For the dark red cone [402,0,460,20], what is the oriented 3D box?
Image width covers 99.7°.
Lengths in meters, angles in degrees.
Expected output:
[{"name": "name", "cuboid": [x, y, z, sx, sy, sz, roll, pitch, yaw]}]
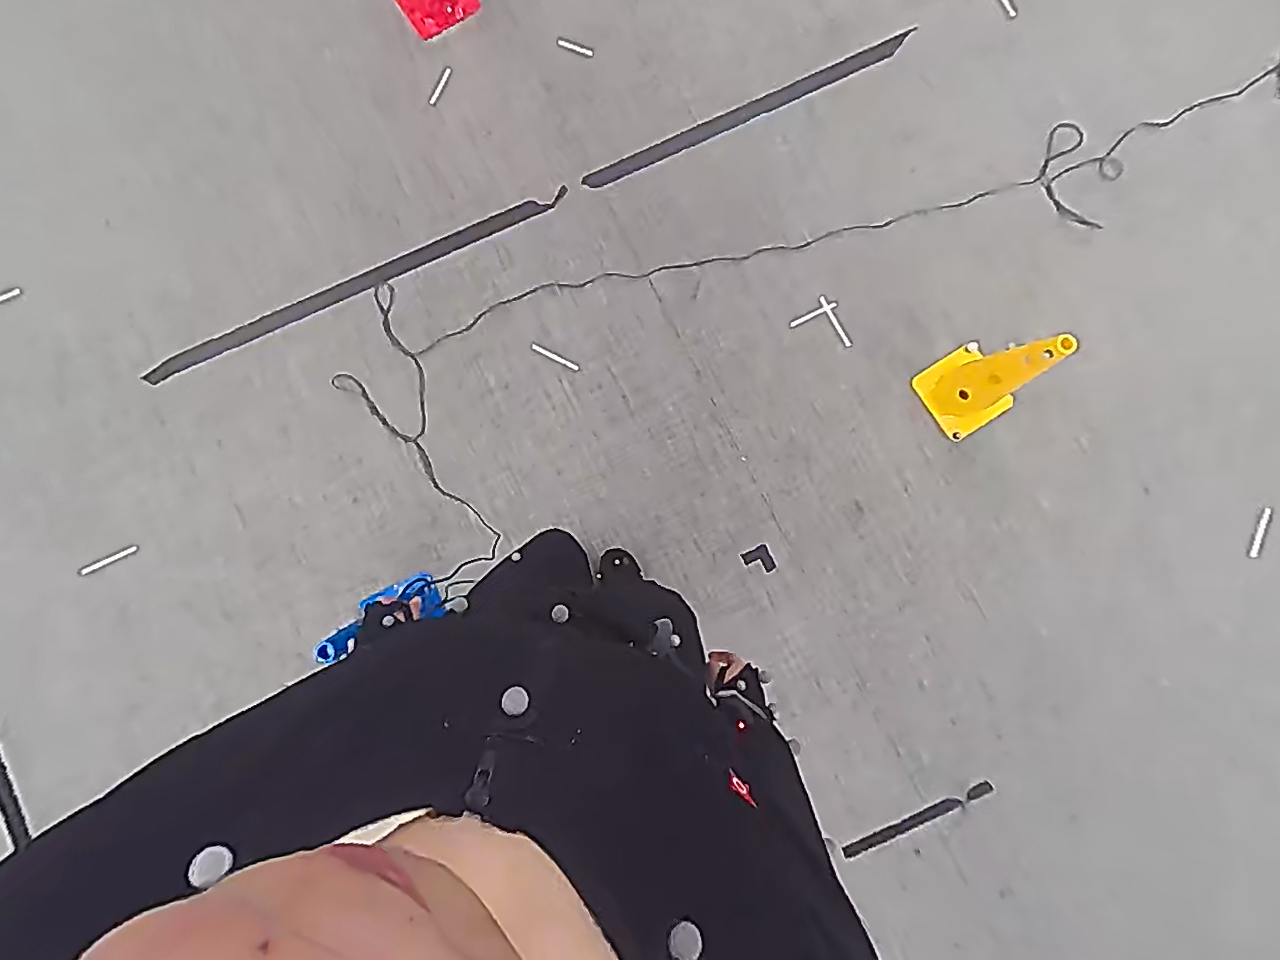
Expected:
[{"name": "dark red cone", "cuboid": [-0.586, -1.407, 1.343, 0.202, 0.394, 0.201, -33, 86, -2]}]

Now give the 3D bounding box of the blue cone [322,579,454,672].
[{"name": "blue cone", "cuboid": [-0.582, 0.347, 1.195, 0.193, 0.380, 0.192, -25, 86, -2]}]
